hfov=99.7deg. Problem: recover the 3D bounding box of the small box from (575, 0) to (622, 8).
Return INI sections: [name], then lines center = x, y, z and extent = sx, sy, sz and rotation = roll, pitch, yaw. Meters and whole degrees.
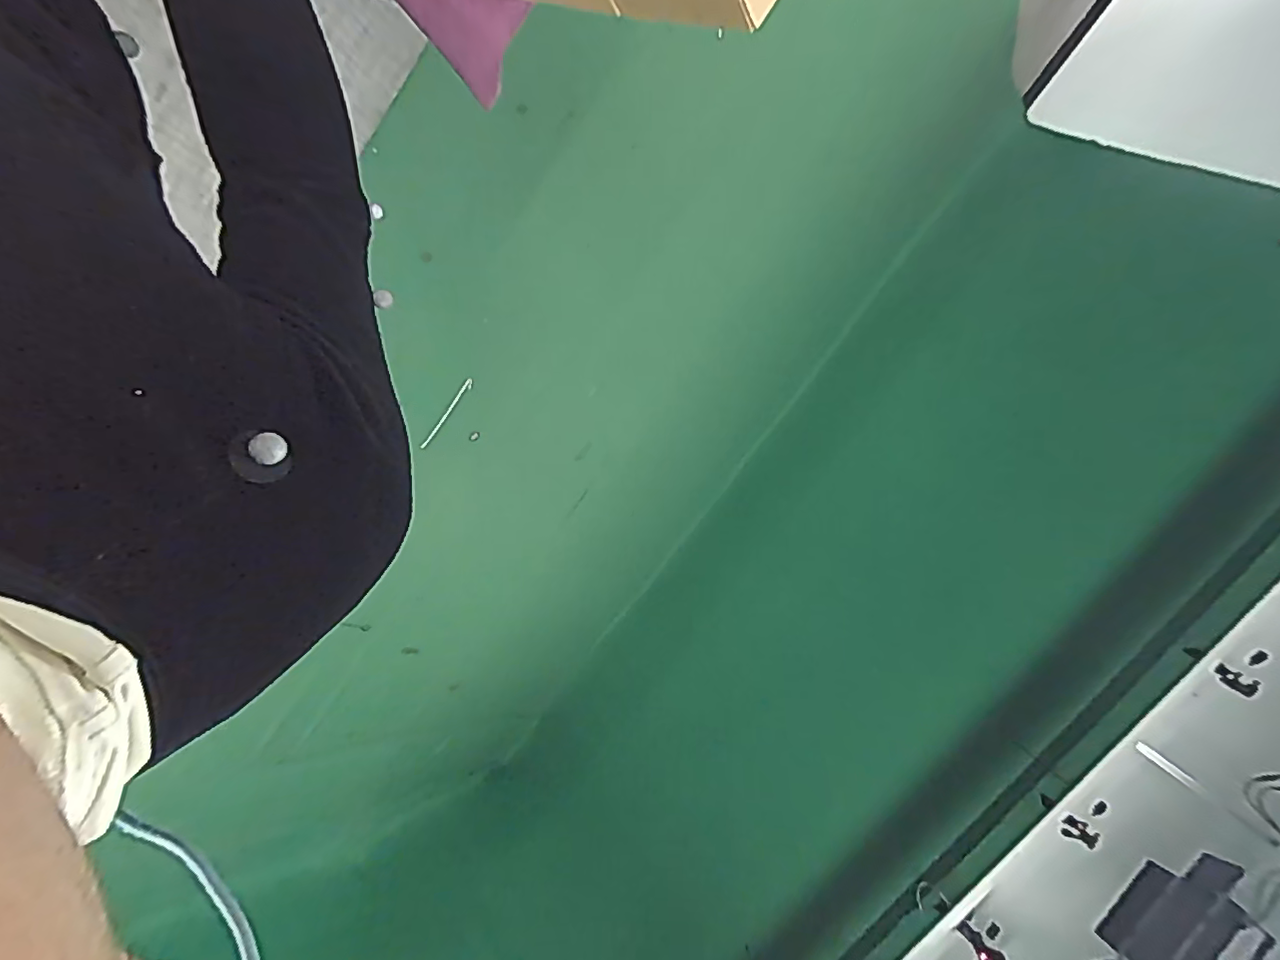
[small box]
center = -0.061, -0.588, 0.487
extent = 0.179, 0.176, 0.168
rotation = -52, 148, 5
